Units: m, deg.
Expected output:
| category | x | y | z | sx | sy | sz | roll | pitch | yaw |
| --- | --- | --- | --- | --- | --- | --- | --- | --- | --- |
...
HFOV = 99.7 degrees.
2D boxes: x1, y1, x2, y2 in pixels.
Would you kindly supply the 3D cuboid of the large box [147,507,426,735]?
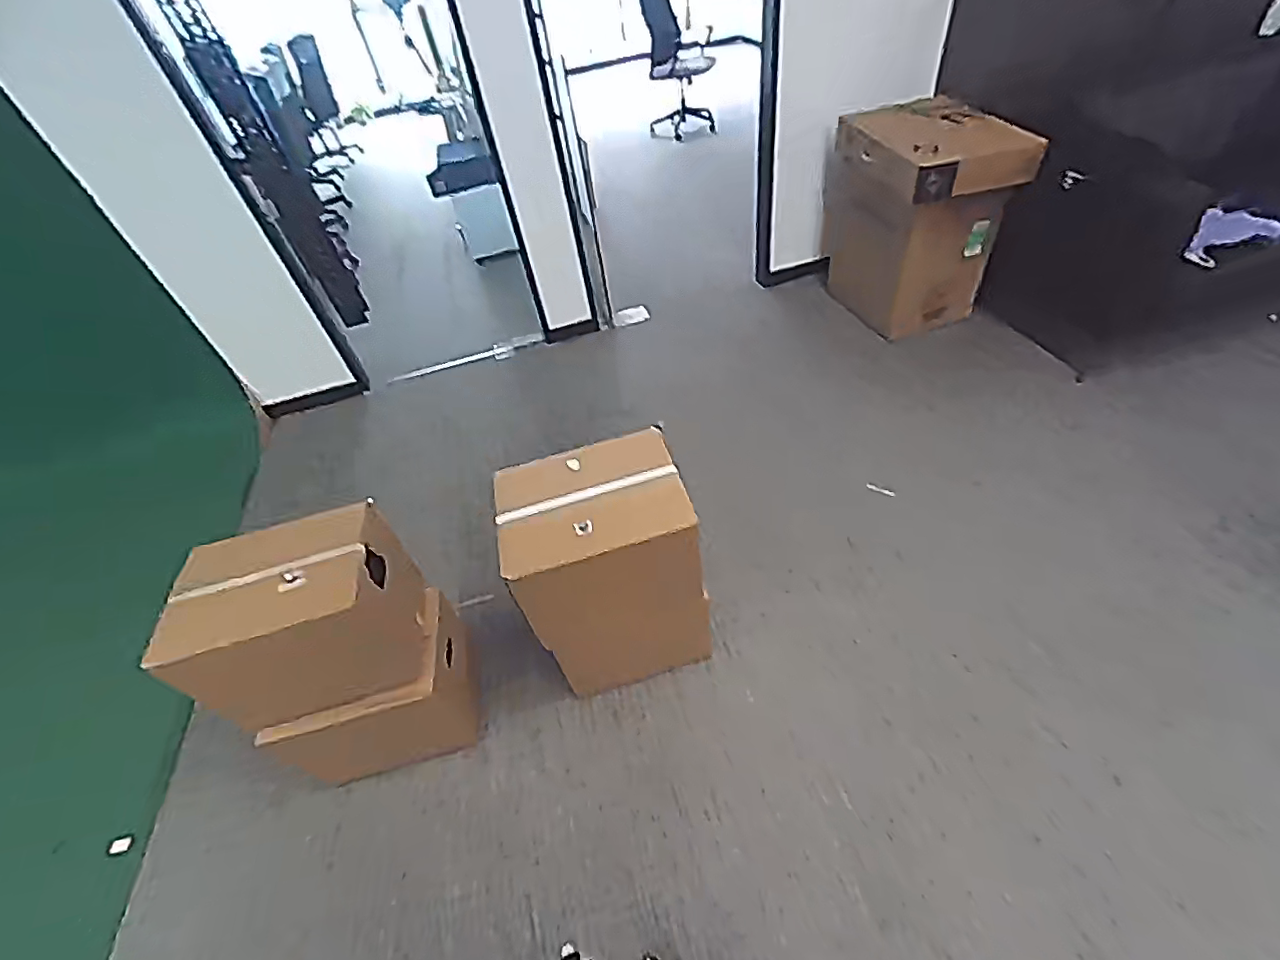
| category | x | y | z | sx | sy | sz | roll | pitch | yaw |
| --- | --- | --- | --- | --- | --- | --- | --- | --- | --- |
| large box | -0.758 | 0.321 | 1.244 | 0.408 | 0.320 | 0.320 | -15 | 42 | -5 |
